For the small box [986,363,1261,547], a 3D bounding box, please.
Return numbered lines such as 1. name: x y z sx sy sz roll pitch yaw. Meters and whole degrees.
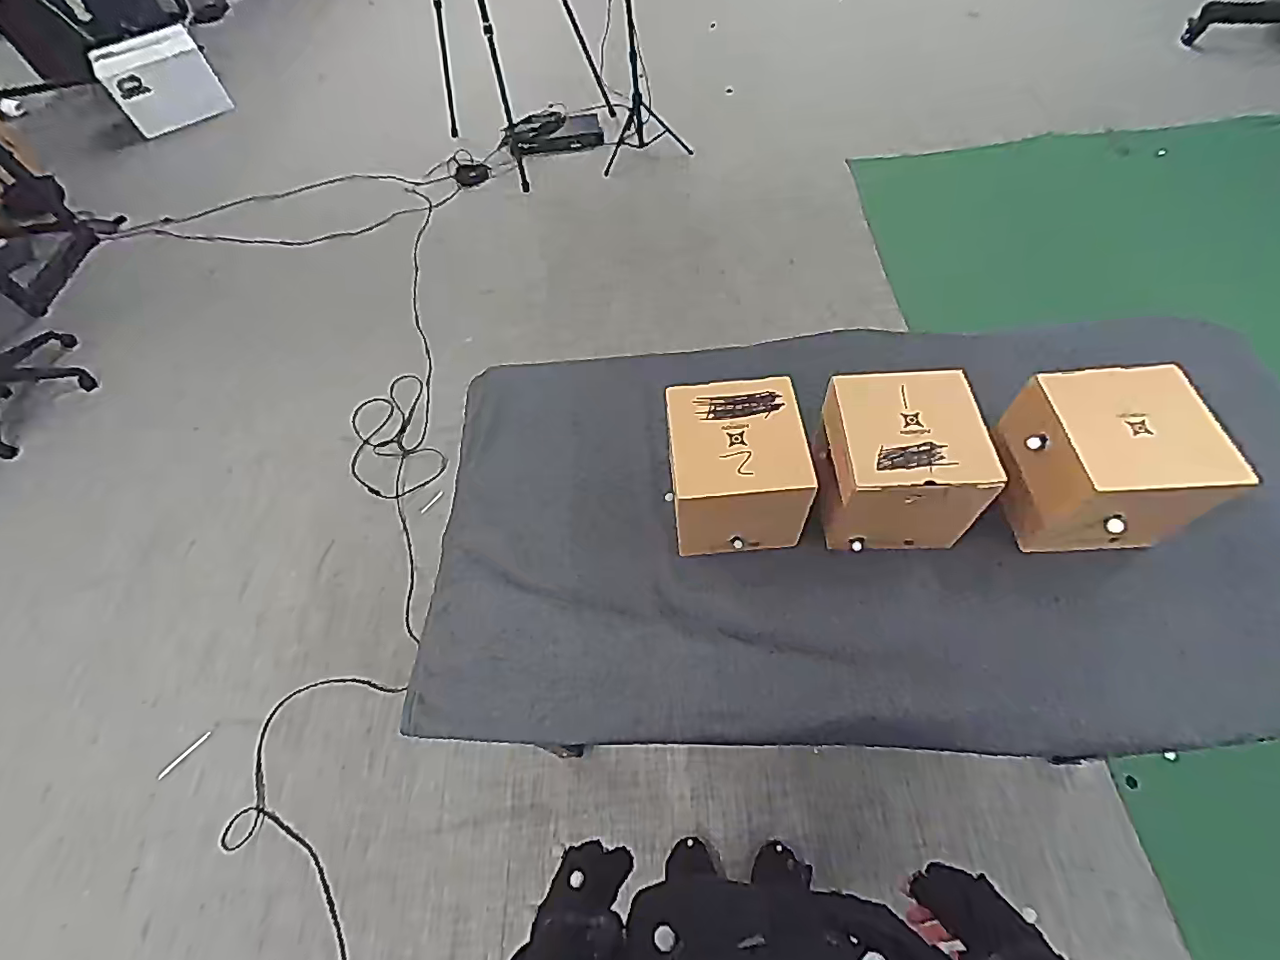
1. small box: 0.583 -0.022 0.687 0.168 0.176 0.179 -4 57 5
